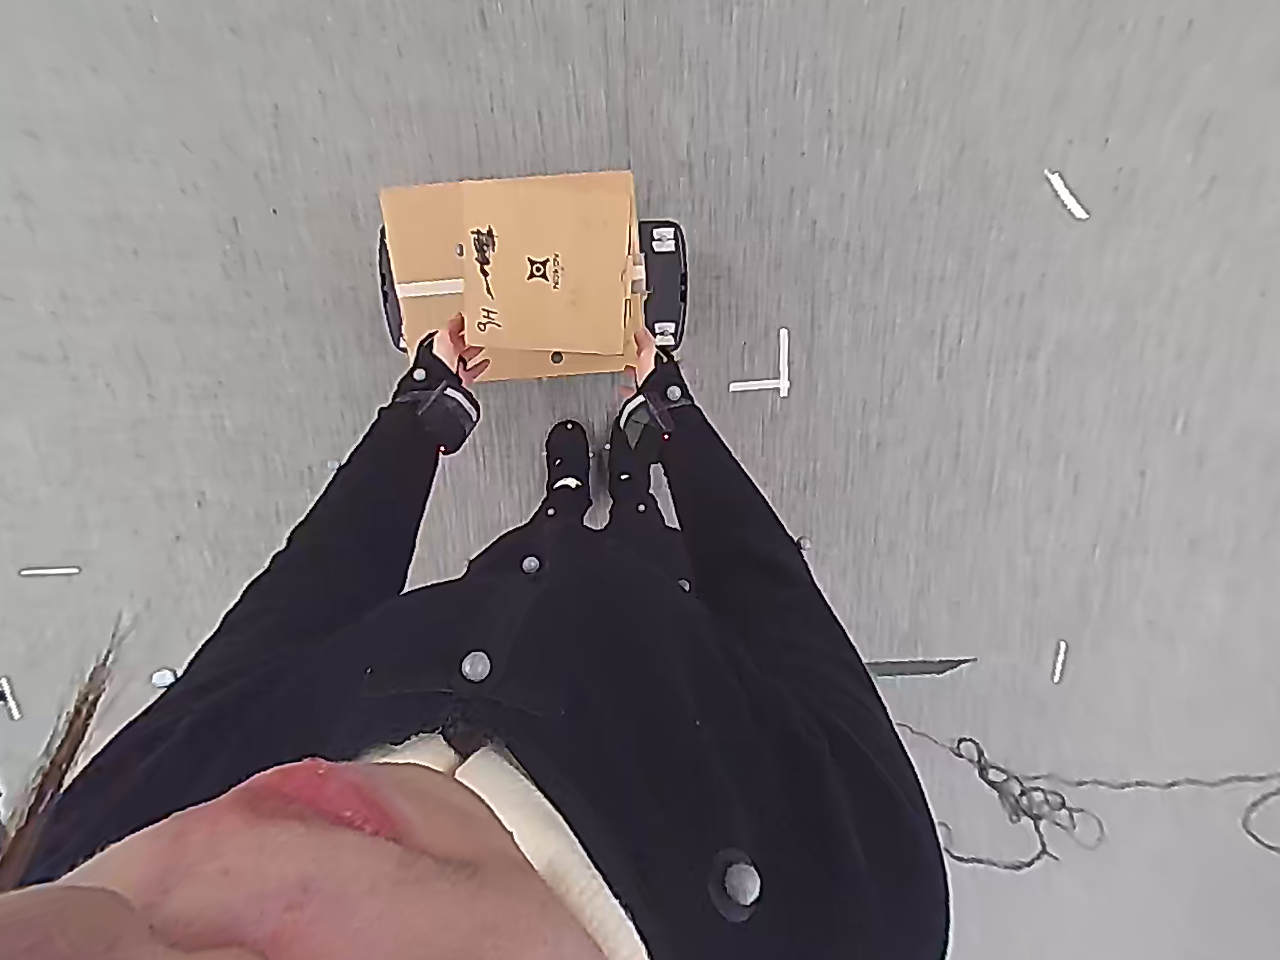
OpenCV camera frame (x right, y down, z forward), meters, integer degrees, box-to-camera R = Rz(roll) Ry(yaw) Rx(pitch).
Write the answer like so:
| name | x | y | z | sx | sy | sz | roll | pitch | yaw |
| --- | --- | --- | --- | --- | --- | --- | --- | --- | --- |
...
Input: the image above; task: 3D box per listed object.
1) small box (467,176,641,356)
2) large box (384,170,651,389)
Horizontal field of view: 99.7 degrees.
| name | x | y | z | sx | sy | sz | roll | pitch | yaw |
| --- | --- | --- | --- | --- | --- | --- | --- | --- | --- |
| small box | -0.096 | -0.238 | 0.639 | 0.179 | 0.176 | 0.168 | 3 | 103 | -4 |
| large box | -0.194 | -0.358 | 1.027 | 0.408 | 0.320 | 0.320 | -4 | 104 | 0 |
